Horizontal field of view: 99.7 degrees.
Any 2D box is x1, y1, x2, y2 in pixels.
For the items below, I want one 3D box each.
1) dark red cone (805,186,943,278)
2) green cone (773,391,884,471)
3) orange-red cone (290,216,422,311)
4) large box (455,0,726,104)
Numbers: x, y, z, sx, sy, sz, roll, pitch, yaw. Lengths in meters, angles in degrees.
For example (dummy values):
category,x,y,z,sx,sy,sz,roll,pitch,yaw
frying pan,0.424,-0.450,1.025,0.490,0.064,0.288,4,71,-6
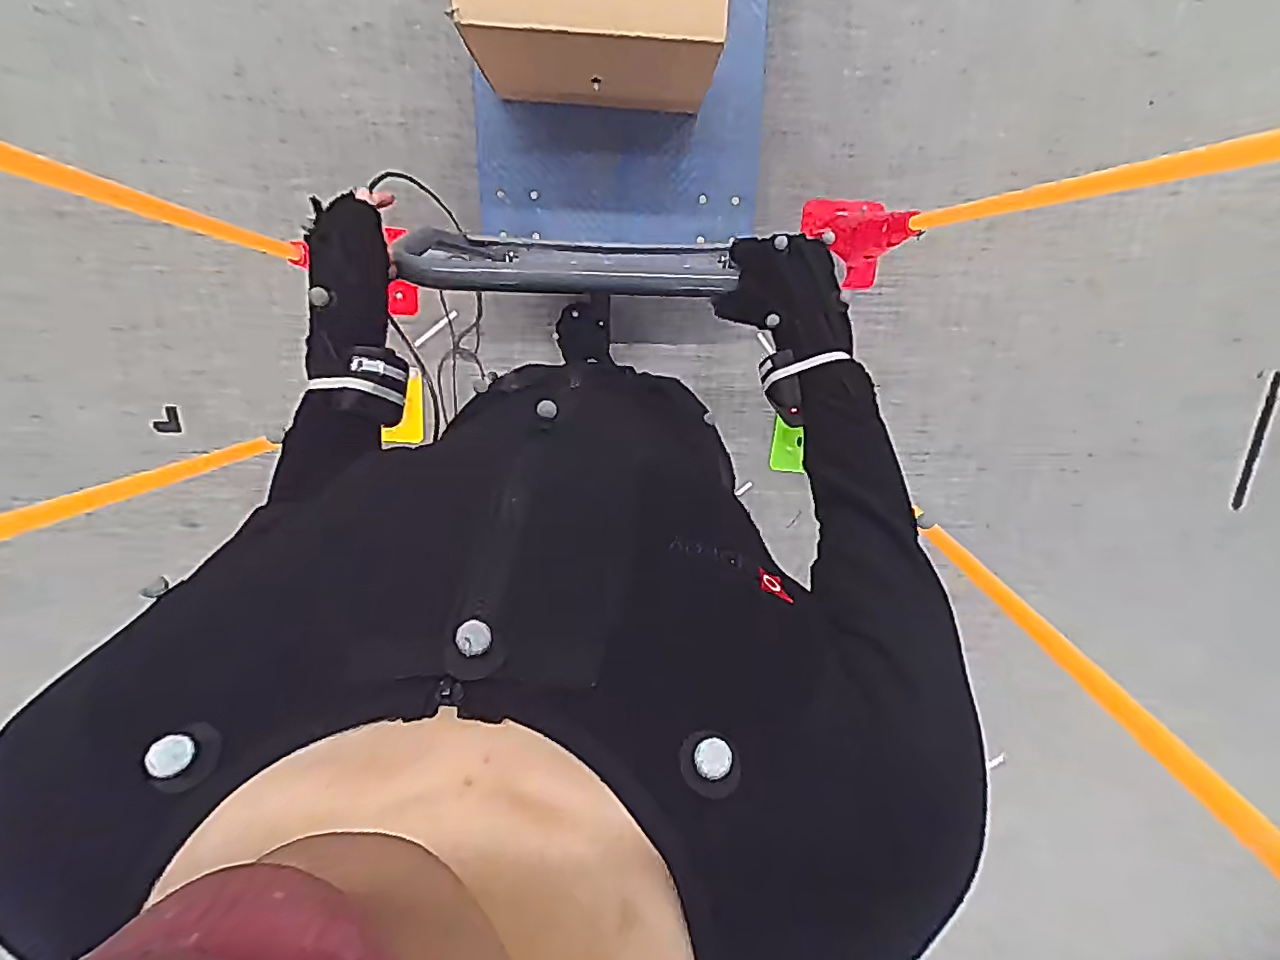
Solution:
category,x,y,z,sx,sy,sz,roll,pitch,yaw
dark red cone,0.505,-0.544,1.138,0.201,0.394,0.202,0,107,-3
green cone,0.475,-0.085,1.295,0.202,0.368,0.200,4,107,-4
orange-red cone,-0.627,-0.478,1.152,0.198,0.360,0.199,8,105,-5
large box,-0.069,-0.857,0.899,0.408,0.320,0.320,2,108,-2
